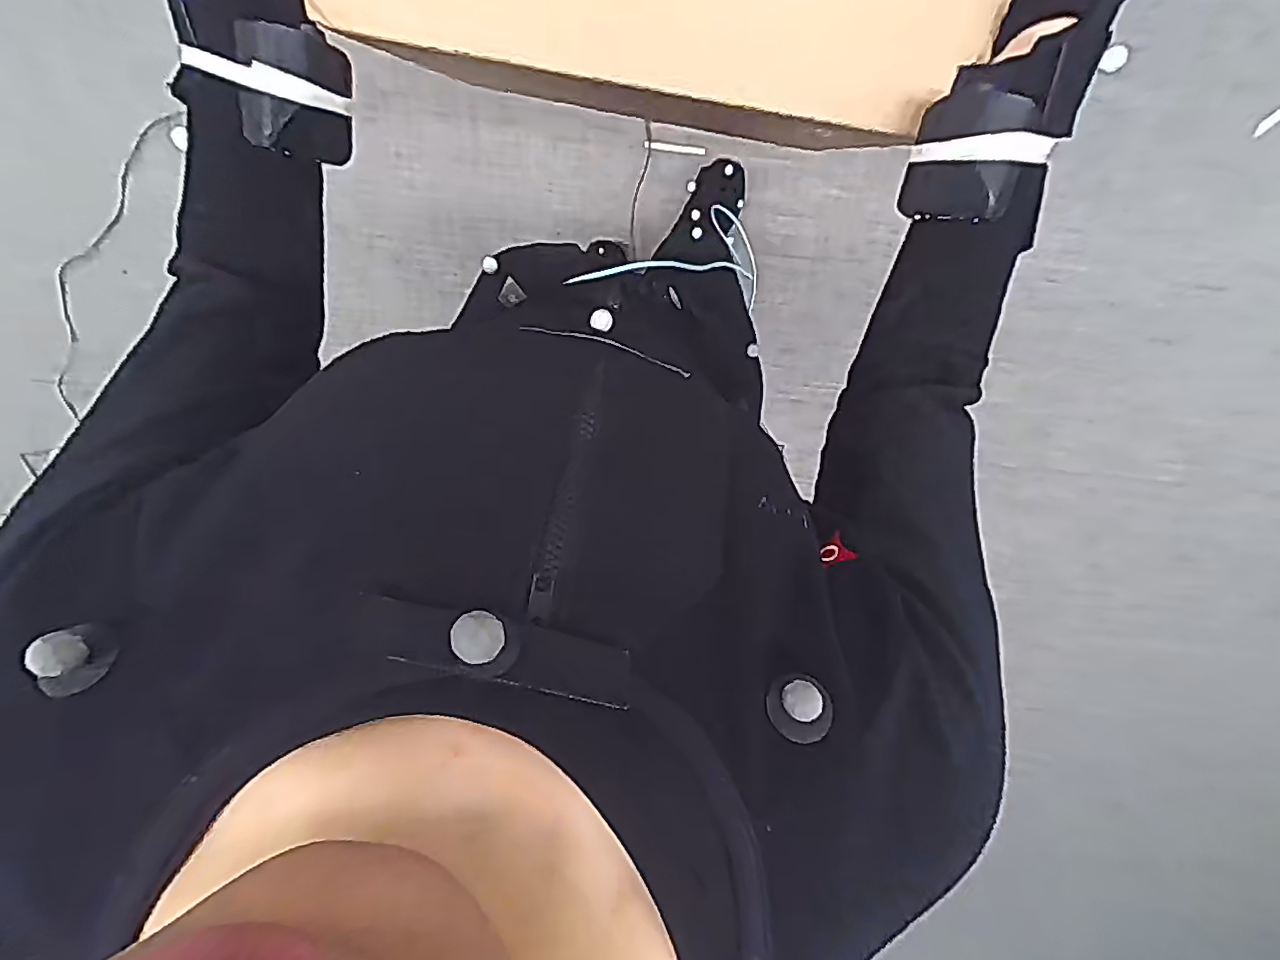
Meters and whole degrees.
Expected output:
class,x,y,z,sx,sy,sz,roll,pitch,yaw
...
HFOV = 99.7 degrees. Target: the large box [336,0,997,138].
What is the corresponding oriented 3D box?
class,x,y,z,sx,sy,sz,roll,pitch,yaw
large box,0.030,-0.463,0.393,0.408,0.320,0.320,7,121,-5
